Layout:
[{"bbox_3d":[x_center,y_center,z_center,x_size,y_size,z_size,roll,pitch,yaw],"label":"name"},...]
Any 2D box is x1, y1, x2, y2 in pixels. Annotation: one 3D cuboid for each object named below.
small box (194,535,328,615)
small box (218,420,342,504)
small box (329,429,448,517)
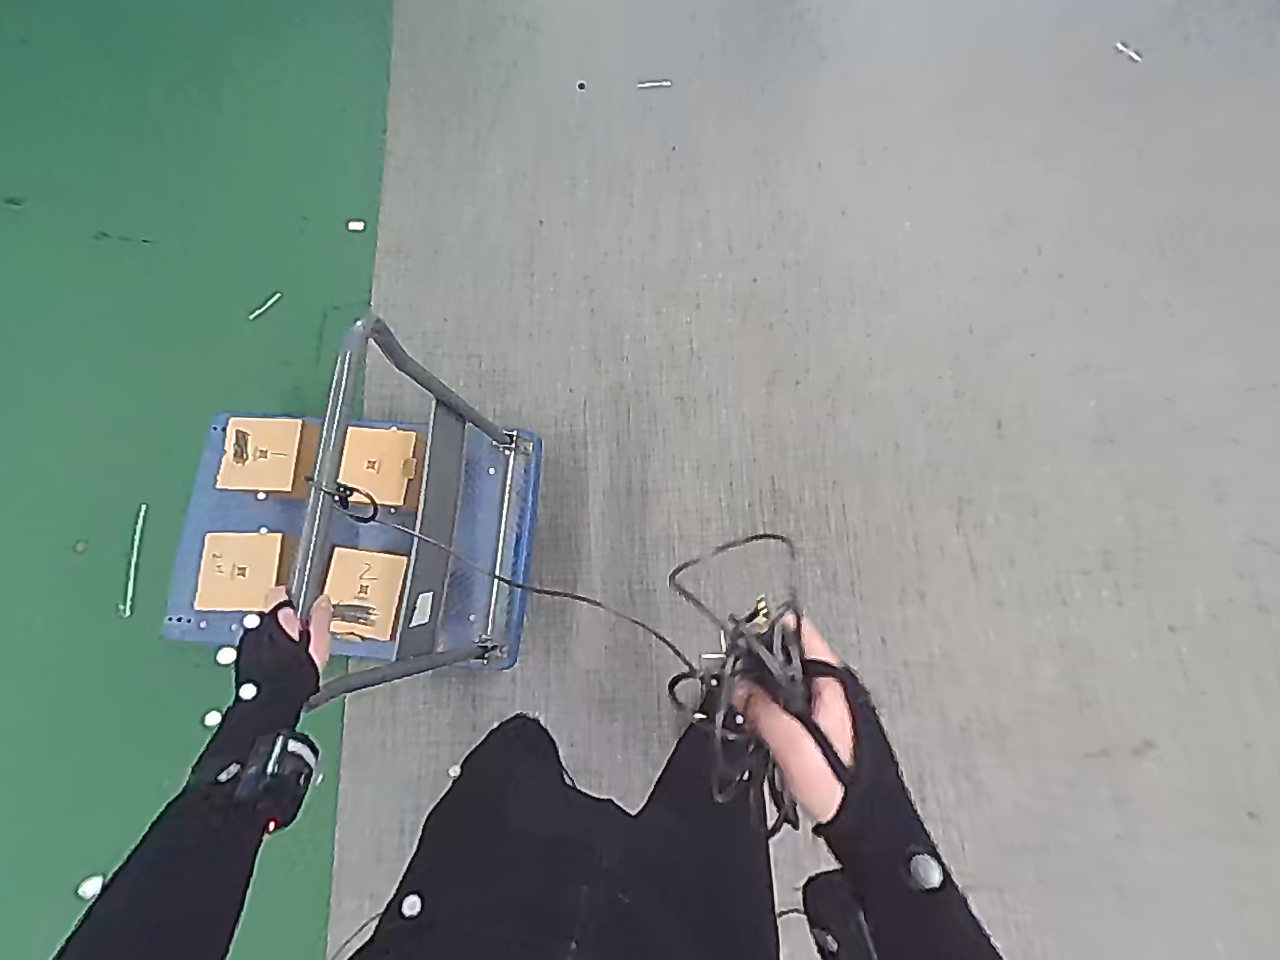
[{"bbox_3d":[-0.845,0.215,1.225,0.179,0.176,0.168,0,78,4],"label":"small box"},{"bbox_3d":[-0.834,-0.037,1.275,0.179,0.176,0.168,2,79,4],"label":"small box"},{"bbox_3d":[-0.573,-0.010,1.253,0.179,0.176,0.168,5,79,4],"label":"small box"}]
